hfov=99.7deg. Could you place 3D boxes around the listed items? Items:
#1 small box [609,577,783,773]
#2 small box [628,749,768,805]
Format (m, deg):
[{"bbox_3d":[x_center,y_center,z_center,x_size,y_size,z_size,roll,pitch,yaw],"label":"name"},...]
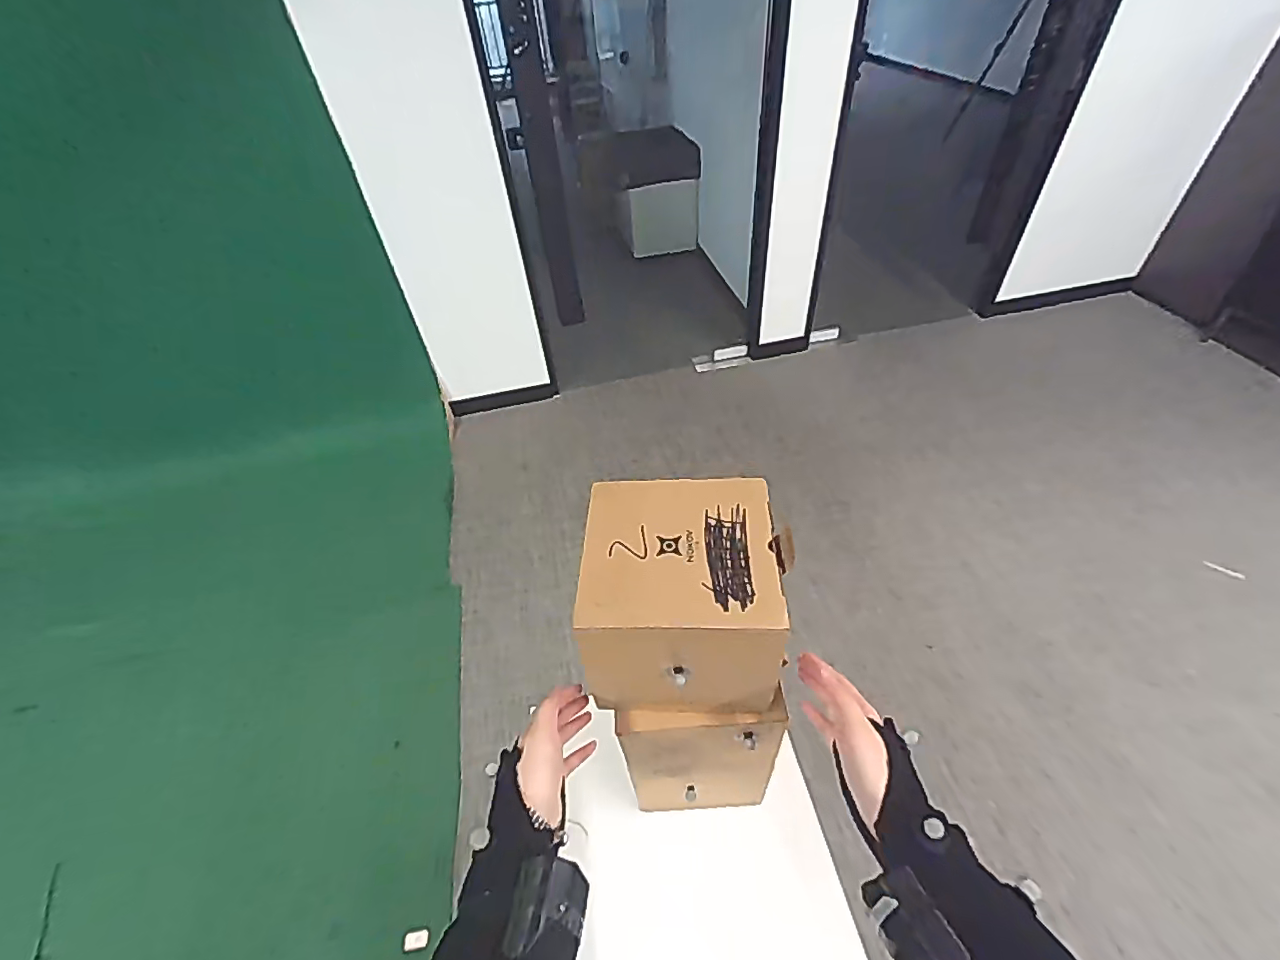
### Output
[{"bbox_3d":[0.060,0.237,0.650,0.179,0.176,0.168,-5,46,0],"label":"small box"},{"bbox_3d":[0.076,0.347,0.769,0.179,0.176,0.168,-5,46,1],"label":"small box"}]
